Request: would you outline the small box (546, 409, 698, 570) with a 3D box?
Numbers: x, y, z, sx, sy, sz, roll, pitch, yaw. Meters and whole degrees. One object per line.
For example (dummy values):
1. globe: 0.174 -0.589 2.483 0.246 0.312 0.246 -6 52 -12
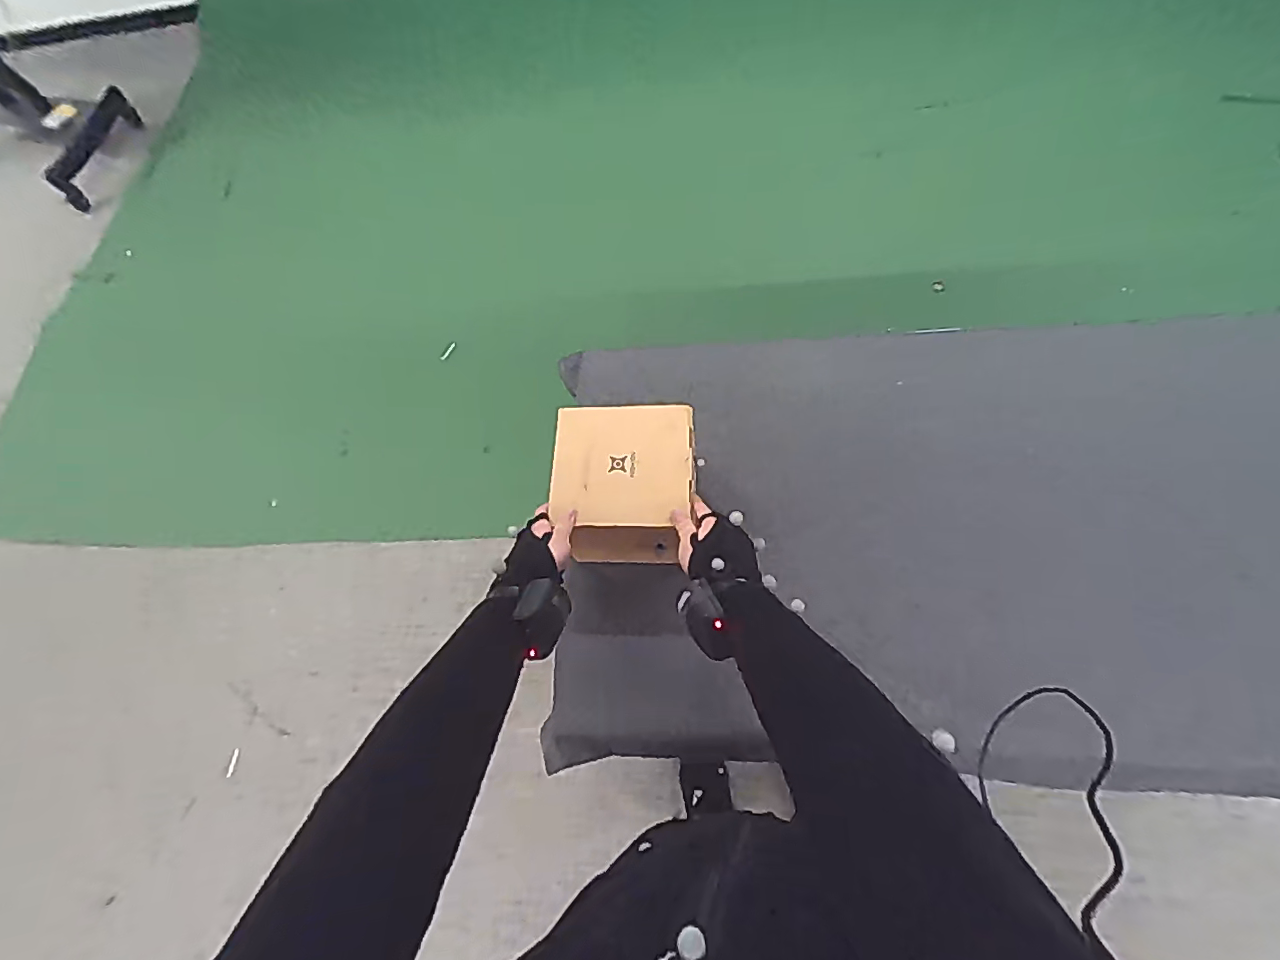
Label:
1. small box: -0.011 0.019 0.731 0.179 0.176 0.168 1 64 8
